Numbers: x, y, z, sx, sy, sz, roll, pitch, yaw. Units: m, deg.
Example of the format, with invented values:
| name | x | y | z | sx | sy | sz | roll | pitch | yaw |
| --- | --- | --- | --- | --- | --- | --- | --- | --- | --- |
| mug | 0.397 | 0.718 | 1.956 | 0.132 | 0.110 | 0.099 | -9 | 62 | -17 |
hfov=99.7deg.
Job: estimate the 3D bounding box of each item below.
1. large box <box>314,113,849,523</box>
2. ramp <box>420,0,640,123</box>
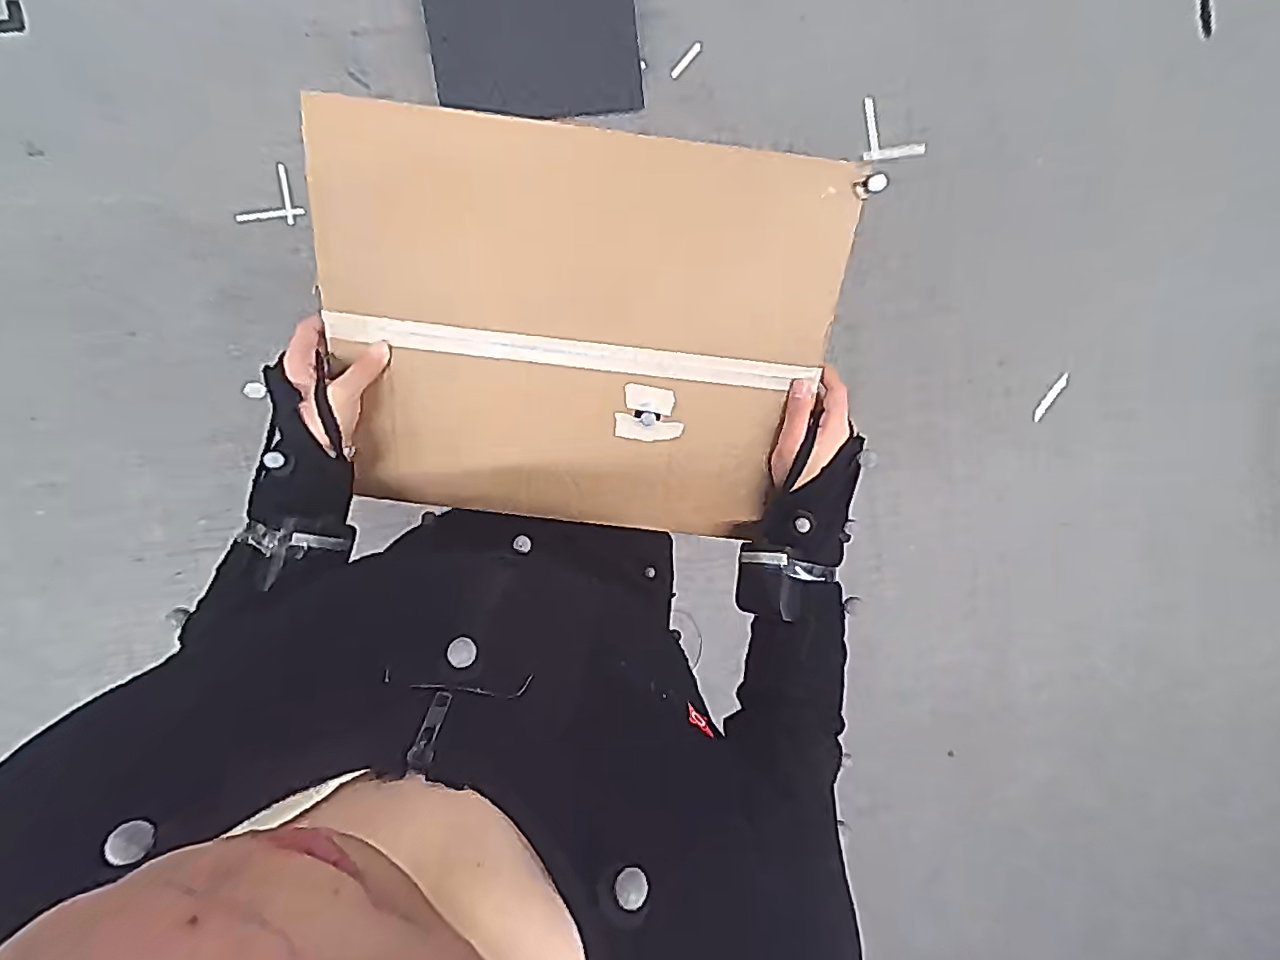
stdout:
| name | x | y | z | sx | sy | sz | roll | pitch | yaw |
| --- | --- | --- | --- | --- | --- | --- | --- | --- | --- |
| large box | -0.054 | -0.170 | 0.592 | 0.408 | 0.320 | 0.320 | 5 | 115 | -2 |
| ramp | -0.292 | -1.371 | 1.198 | 0.509 | 0.206 | 0.991 | -10 | 95 | -7 |
